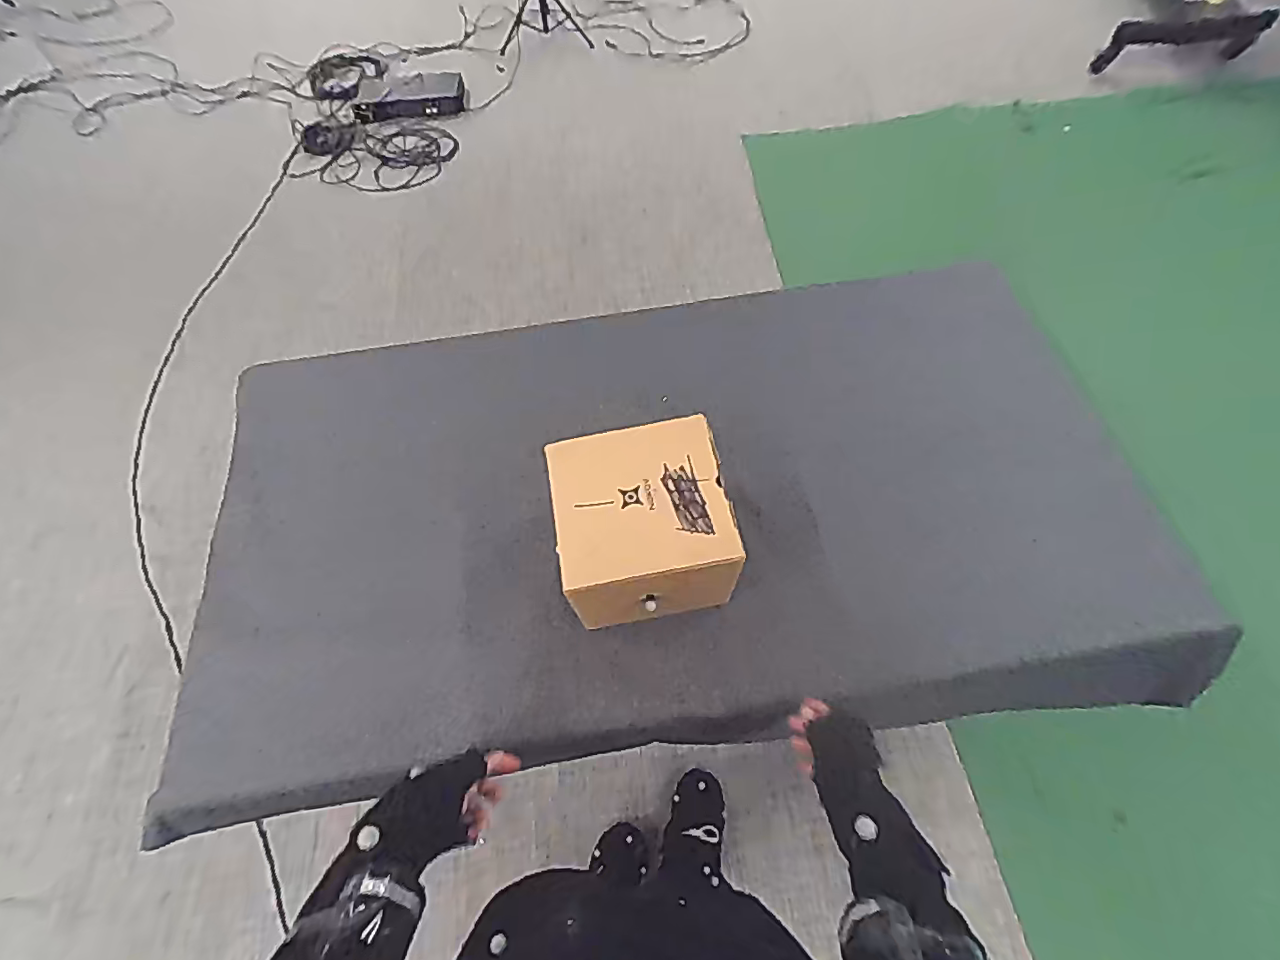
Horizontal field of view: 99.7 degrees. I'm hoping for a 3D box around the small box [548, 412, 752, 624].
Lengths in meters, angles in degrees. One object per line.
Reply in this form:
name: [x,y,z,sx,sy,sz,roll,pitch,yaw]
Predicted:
small box: [0.006,0.050,0.608,0.179,0.176,0.168,-13,64,-5]
